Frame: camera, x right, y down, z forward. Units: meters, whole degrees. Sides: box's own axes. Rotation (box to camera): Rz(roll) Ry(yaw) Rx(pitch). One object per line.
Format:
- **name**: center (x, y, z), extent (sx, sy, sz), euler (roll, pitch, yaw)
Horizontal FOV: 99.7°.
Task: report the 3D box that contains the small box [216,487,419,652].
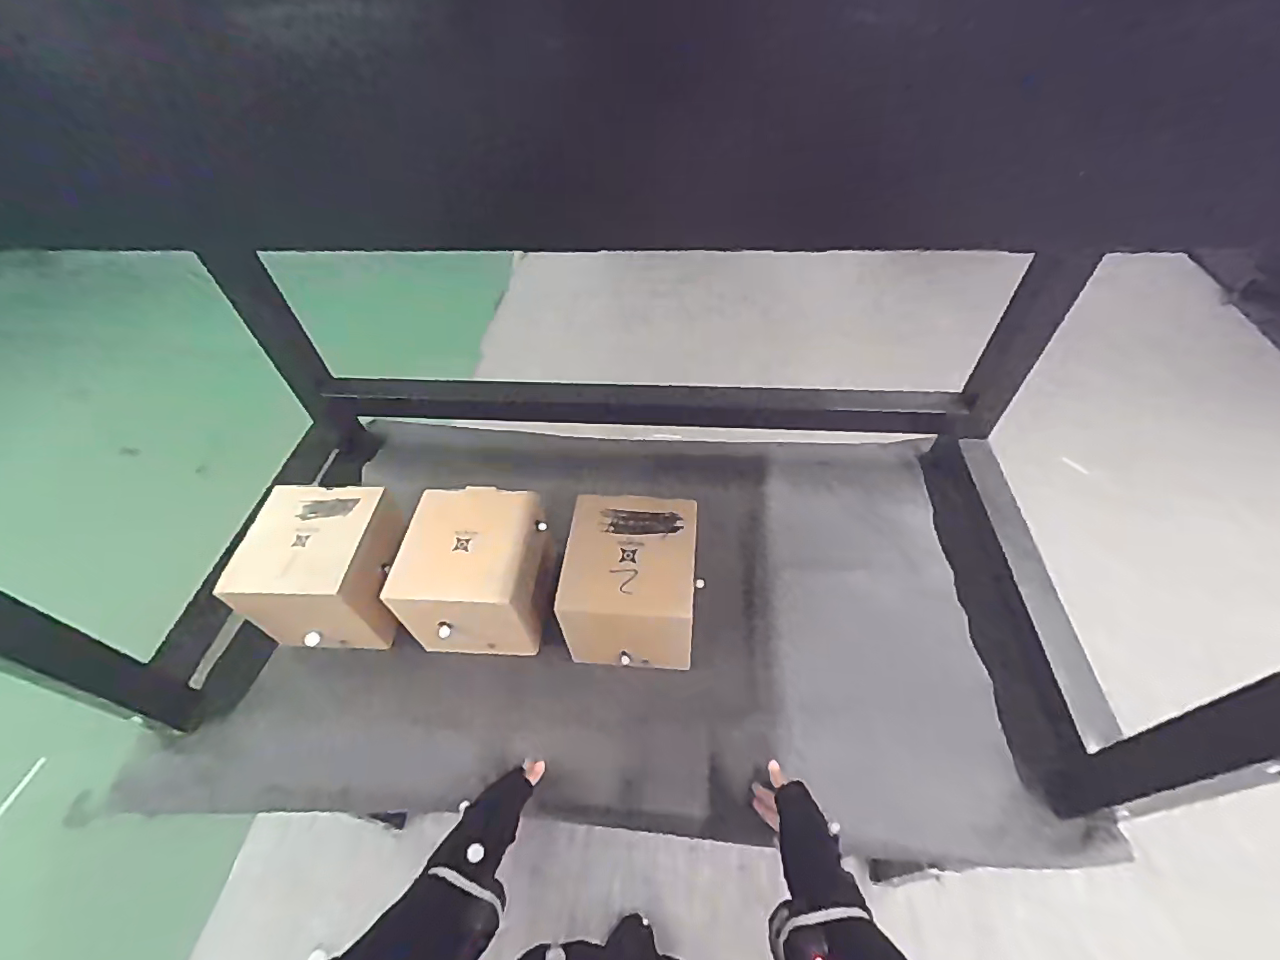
- **small box**: center (-0.446, 0.130, 0.788), extent (0.168, 0.176, 0.179), euler (0, 50, 5)
